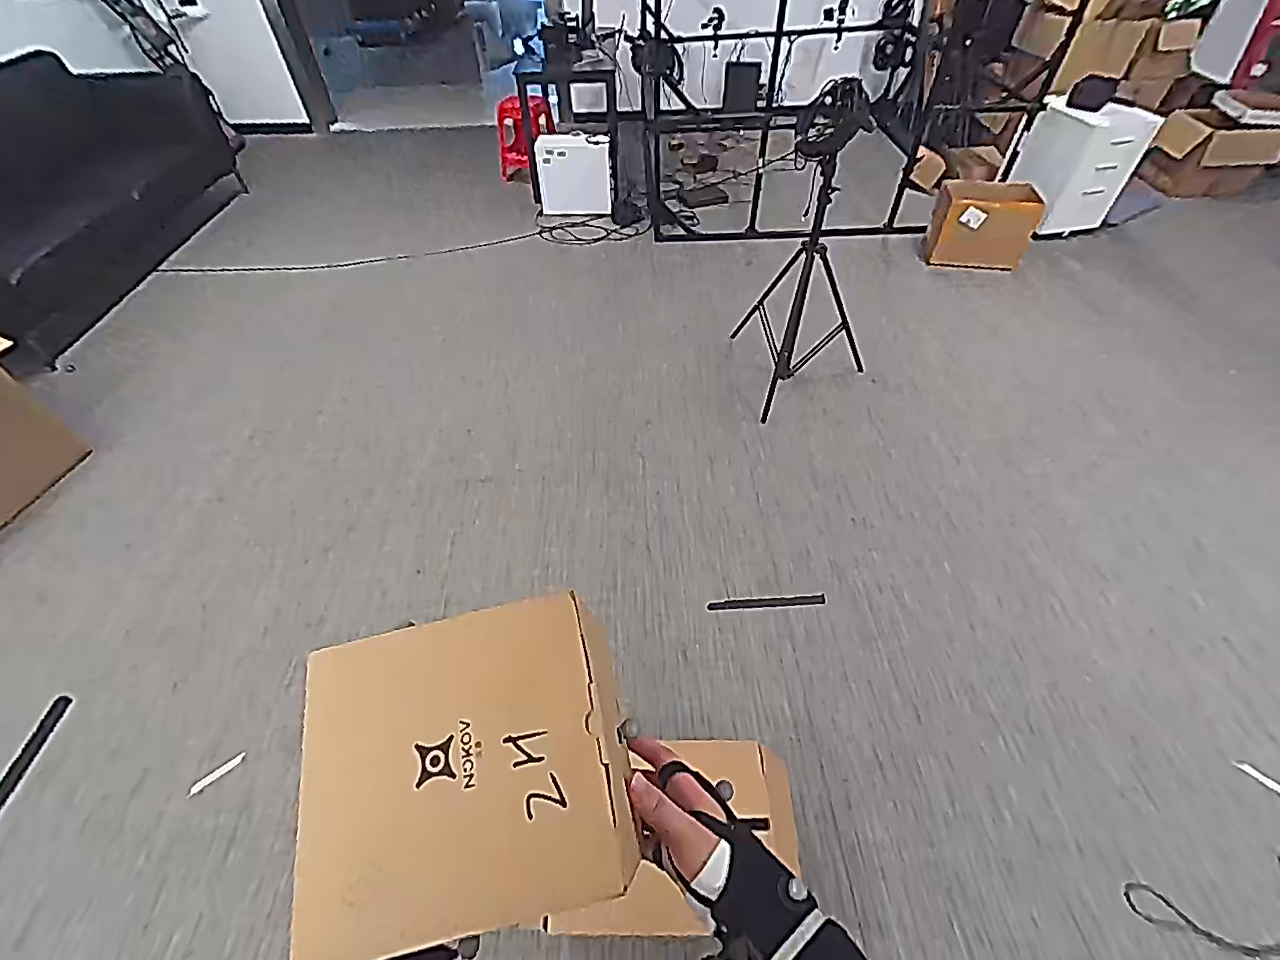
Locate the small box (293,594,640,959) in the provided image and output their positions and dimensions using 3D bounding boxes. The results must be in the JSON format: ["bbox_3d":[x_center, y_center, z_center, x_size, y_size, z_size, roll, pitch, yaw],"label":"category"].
[{"bbox_3d":[-0.105,0.200,0.386,0.179,0.176,0.168,-13,63,-3],"label":"small box"}]
